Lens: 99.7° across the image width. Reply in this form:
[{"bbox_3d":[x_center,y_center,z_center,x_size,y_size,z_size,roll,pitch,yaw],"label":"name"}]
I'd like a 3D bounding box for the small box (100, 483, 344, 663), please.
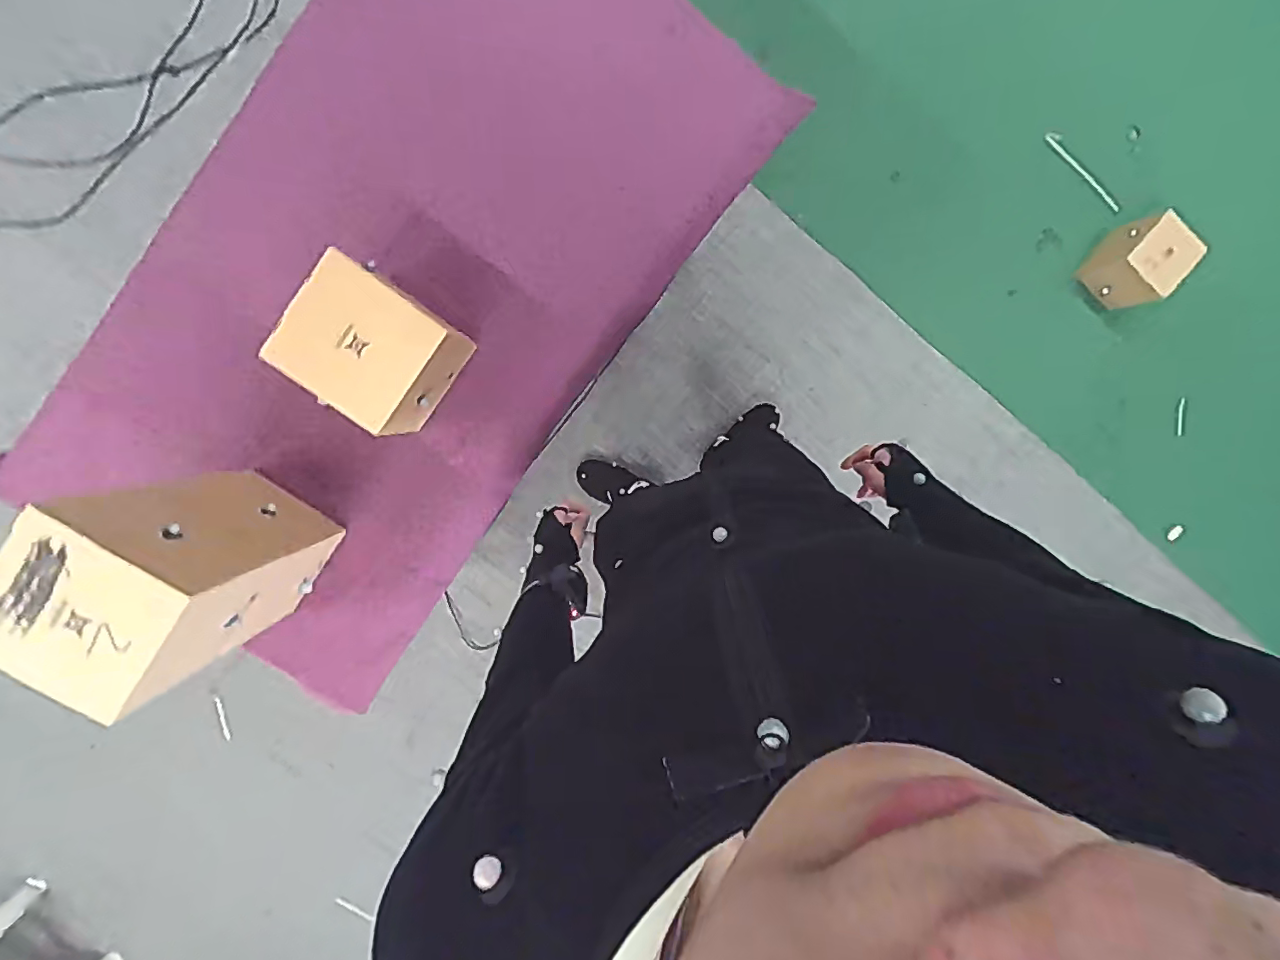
[{"bbox_3d":[-0.570,0.117,0.765,0.179,0.176,0.168,34,93,-8],"label":"small box"}]

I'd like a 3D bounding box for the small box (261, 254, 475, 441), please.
[{"bbox_3d":[-0.357,-0.174,0.750,0.179,0.176,0.168,35,93,-6],"label":"small box"}]

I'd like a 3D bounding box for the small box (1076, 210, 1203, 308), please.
[{"bbox_3d":[1.420,-0.624,1.550,0.168,0.176,0.179,39,93,-7],"label":"small box"}]
